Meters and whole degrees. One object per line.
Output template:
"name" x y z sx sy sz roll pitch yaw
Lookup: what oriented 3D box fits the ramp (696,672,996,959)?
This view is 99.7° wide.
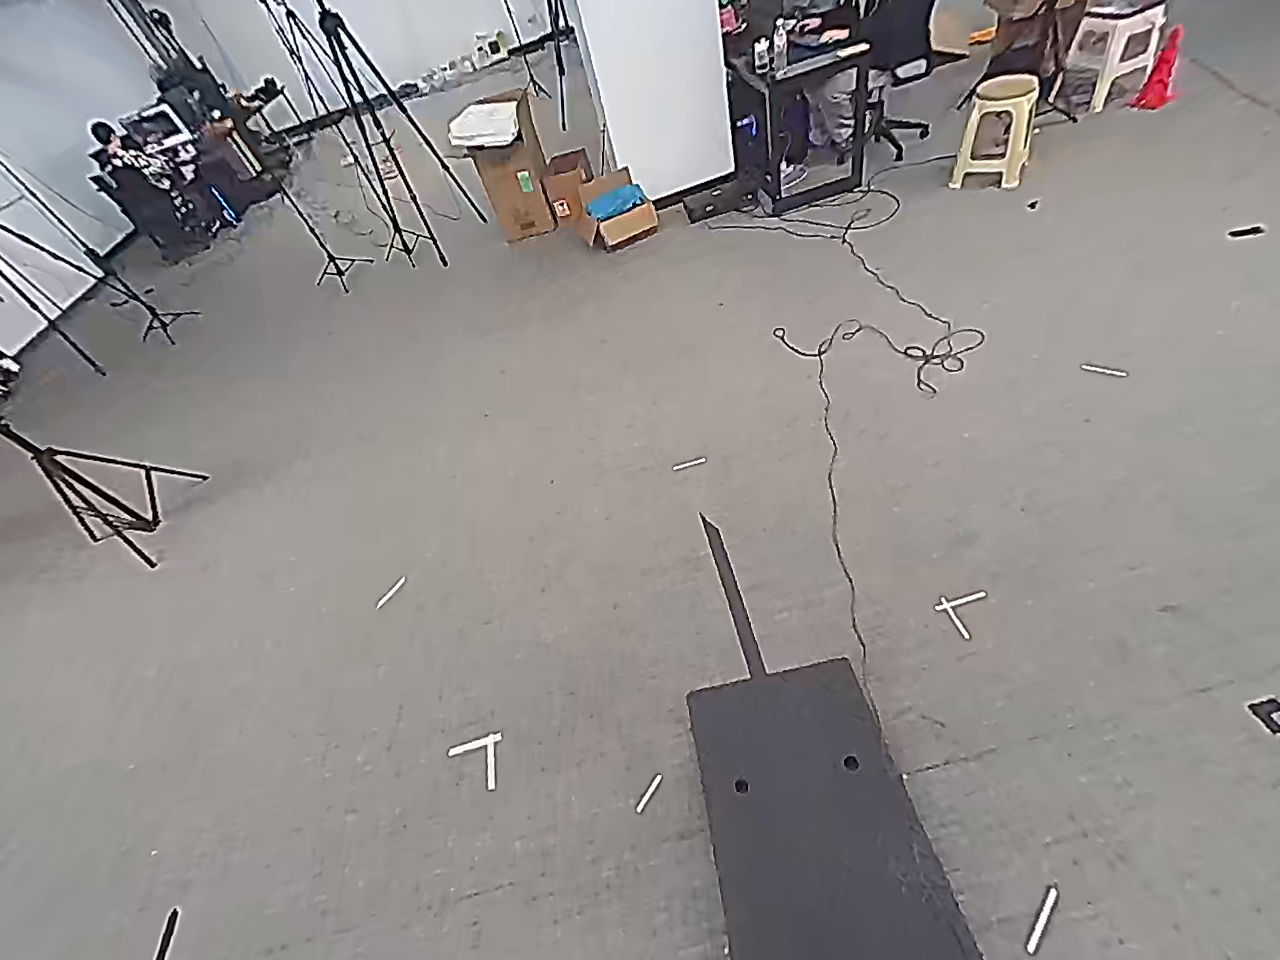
"ramp" 0.445 0.916 1.207 0.509 0.206 0.991 -19 44 4
